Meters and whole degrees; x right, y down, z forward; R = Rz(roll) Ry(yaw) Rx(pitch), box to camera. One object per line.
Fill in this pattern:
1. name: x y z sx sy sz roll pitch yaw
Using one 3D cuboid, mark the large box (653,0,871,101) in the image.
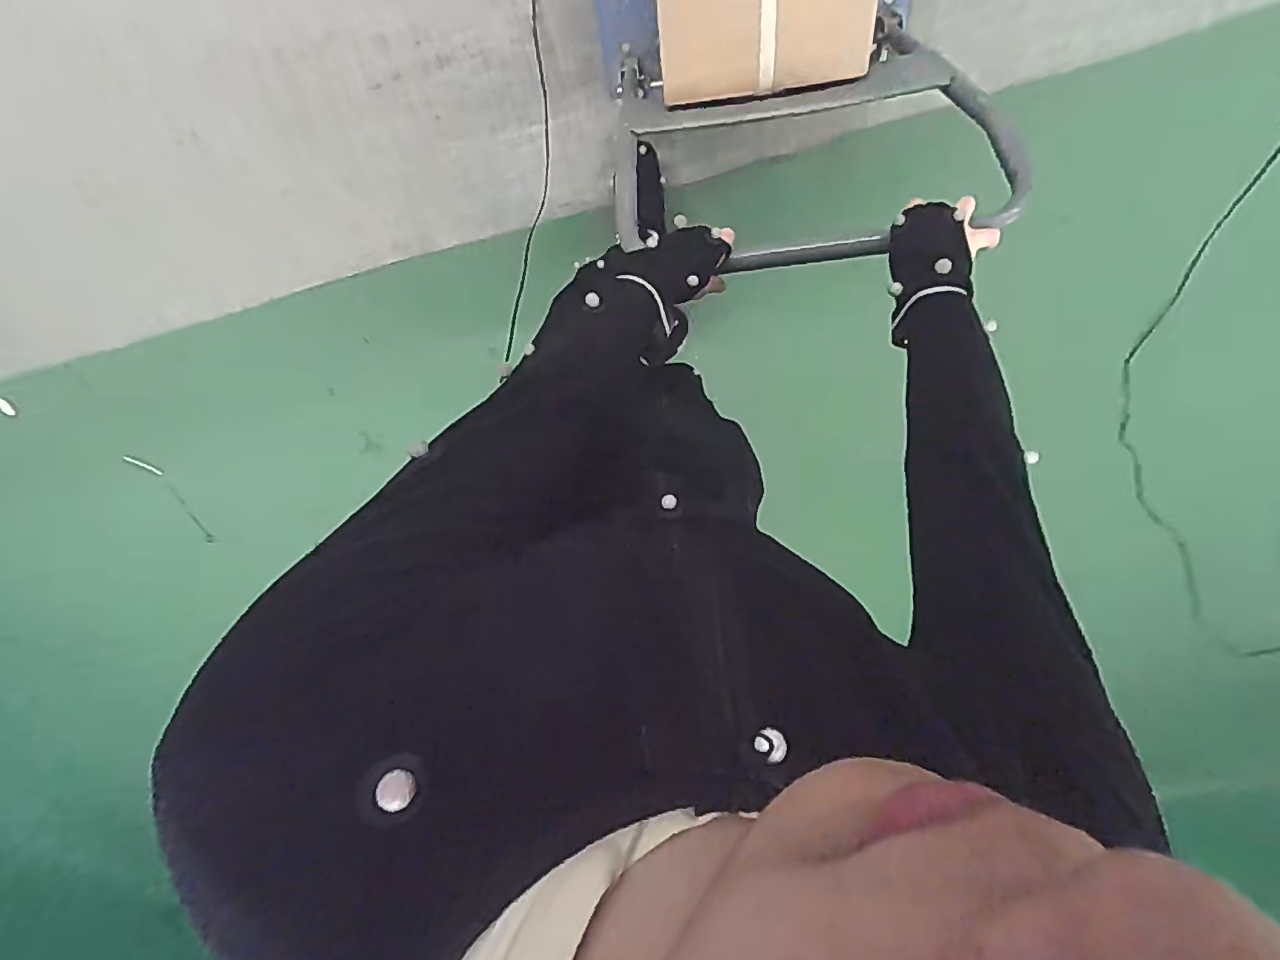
1. large box: 0.170 -0.868 0.821 0.320 0.320 0.408 -5 135 6
